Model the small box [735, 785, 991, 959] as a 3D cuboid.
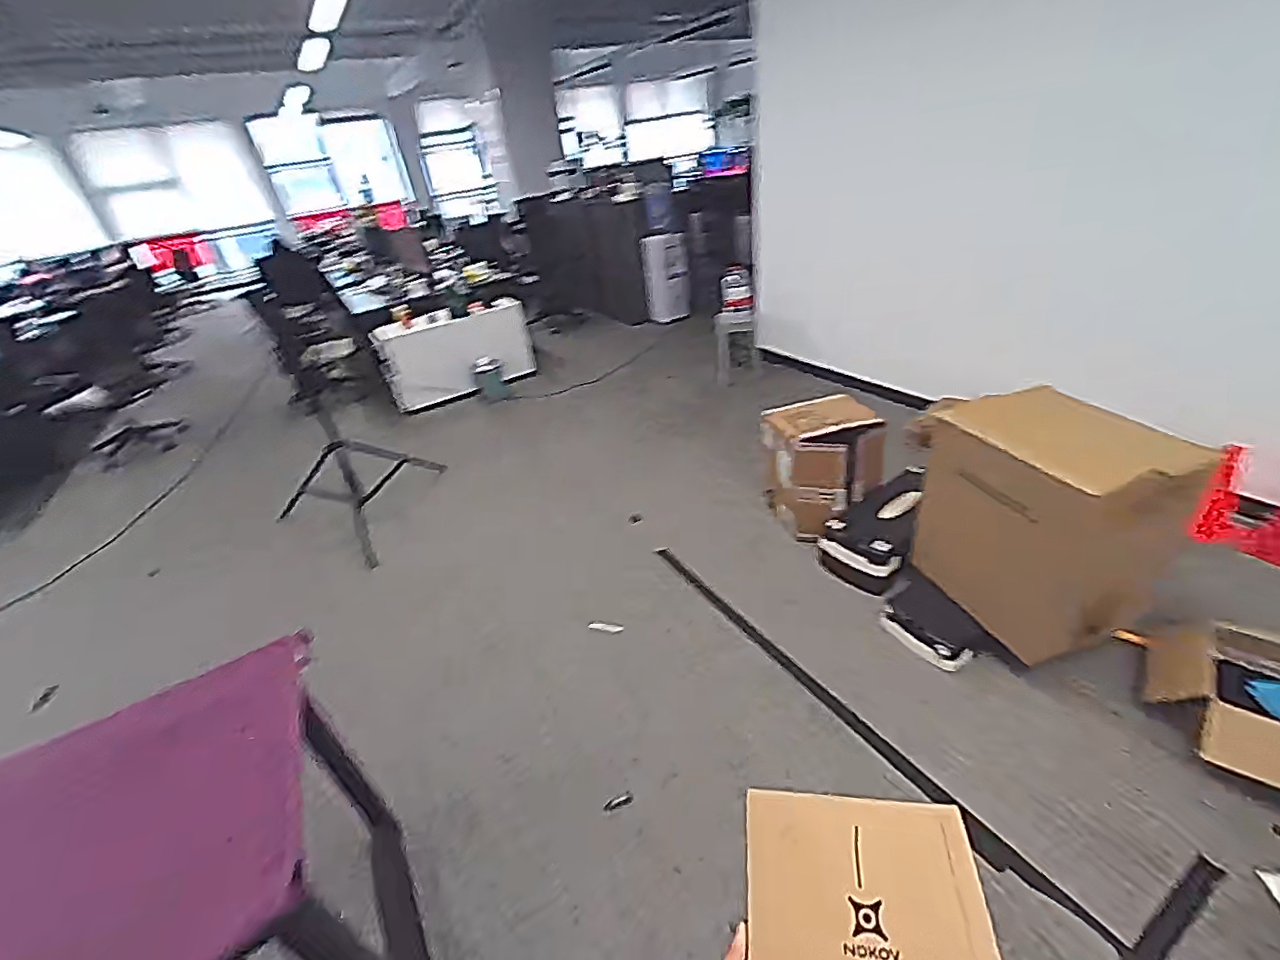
[{"bbox_3d":[0.160,0.370,0.422,0.168,0.176,0.179,-1,40,11],"label":"small box"}]
